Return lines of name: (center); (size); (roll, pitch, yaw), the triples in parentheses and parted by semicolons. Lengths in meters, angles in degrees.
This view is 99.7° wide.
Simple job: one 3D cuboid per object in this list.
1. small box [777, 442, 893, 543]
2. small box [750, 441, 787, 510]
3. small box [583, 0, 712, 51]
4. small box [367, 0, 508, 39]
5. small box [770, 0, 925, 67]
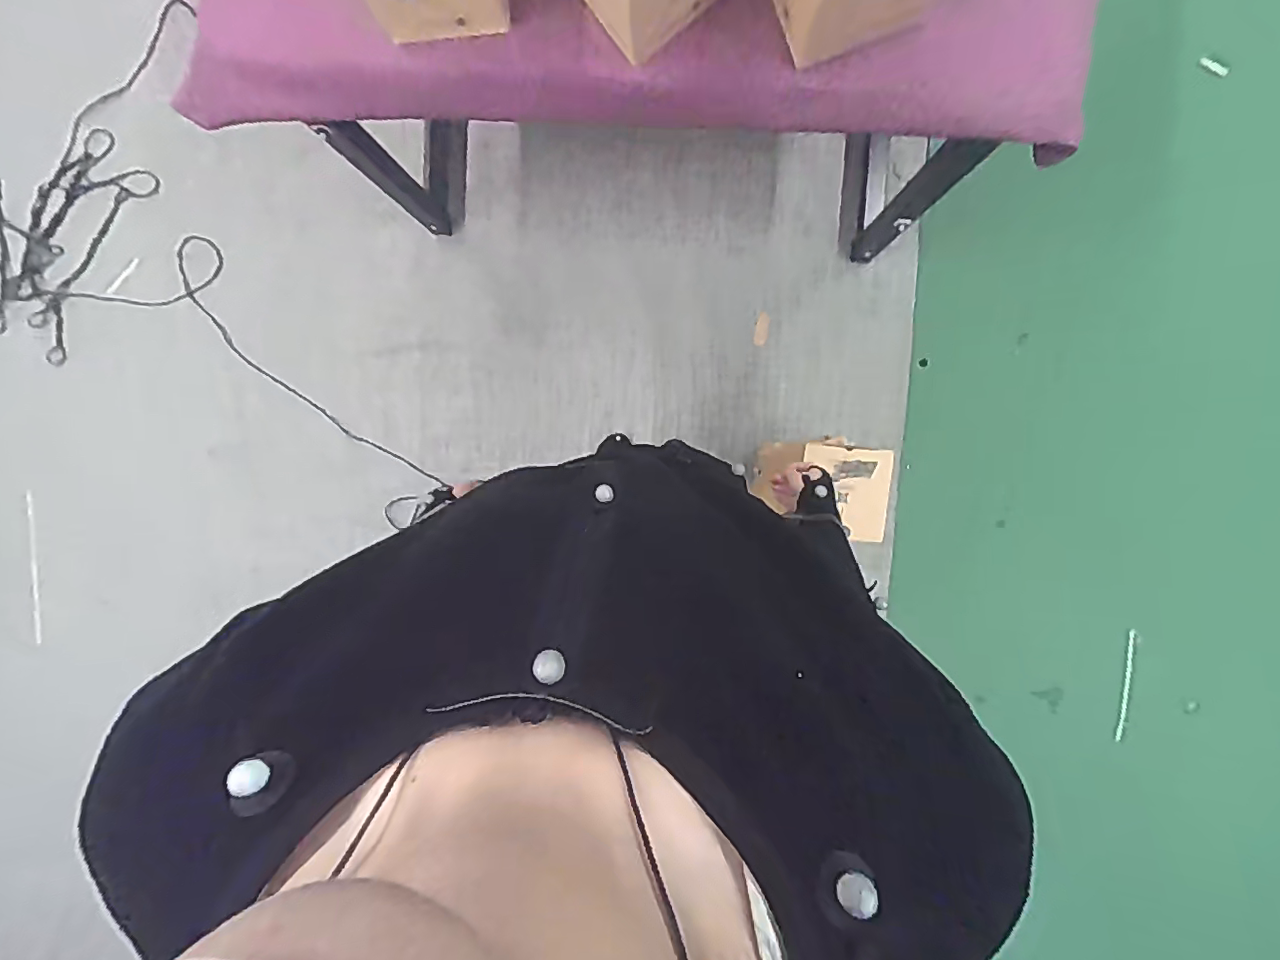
small box: (0.380, 0.017, 1.080); (0.168, 0.176, 0.179); (5, 96, 2)
small box: (0.395, 0.000, 1.408); (0.179, 0.176, 0.168); (14, 95, 2)
small box: (0.001, -0.669, 0.646); (0.168, 0.176, 0.179); (-37, 91, 4)
small box: (-0.267, -0.683, 0.659); (0.168, 0.176, 0.179); (-4, 92, 3)
small box: (0.256, -0.648, 0.636); (0.179, 0.176, 0.168); (-20, 91, 4)
